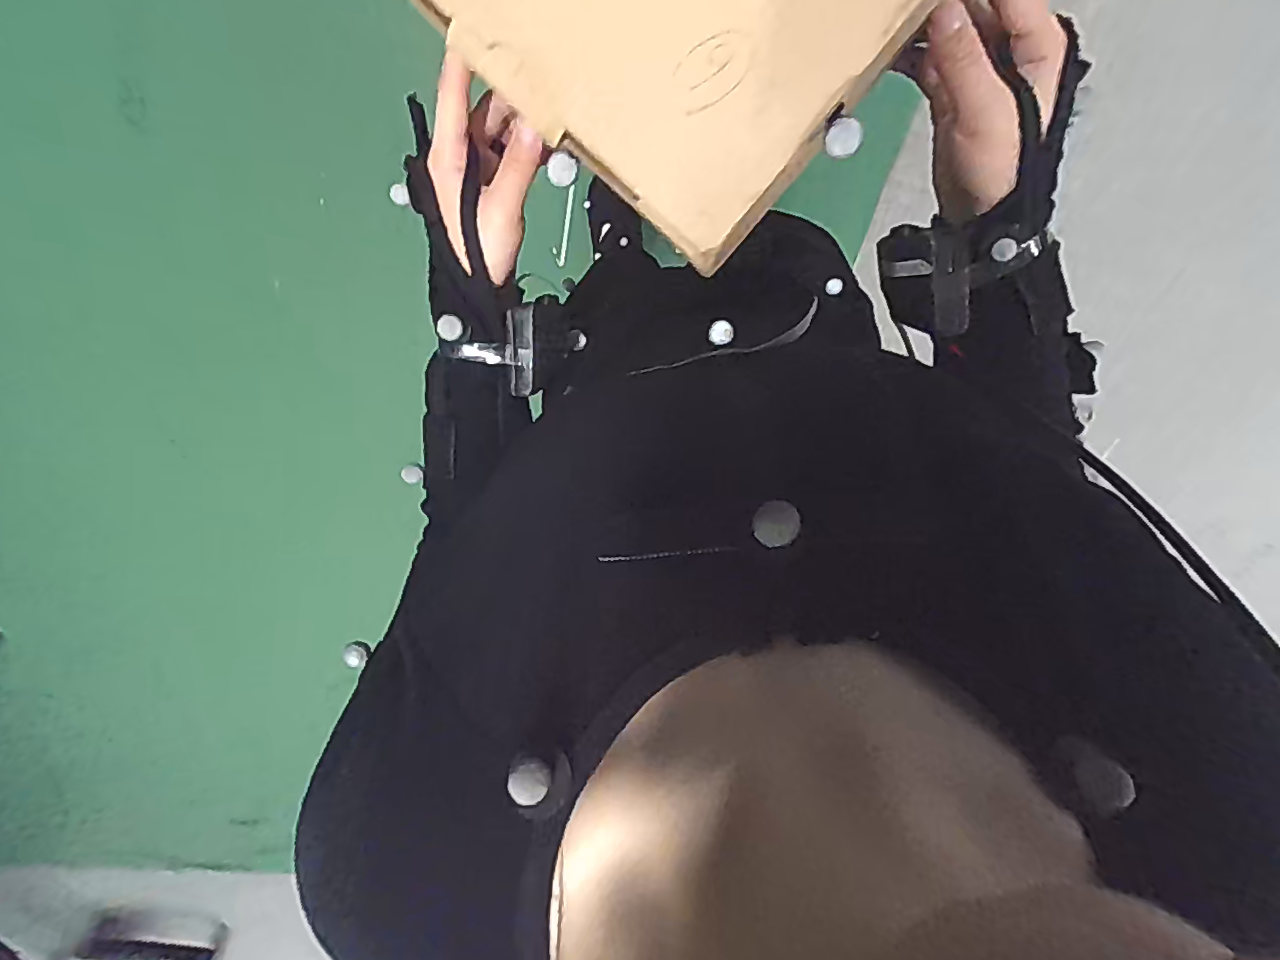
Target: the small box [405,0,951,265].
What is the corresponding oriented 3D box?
[{"bbox_3d":[0.024,-0.206,0.210,0.168,0.176,0.179,43,109,-7],"label":"small box"}]
